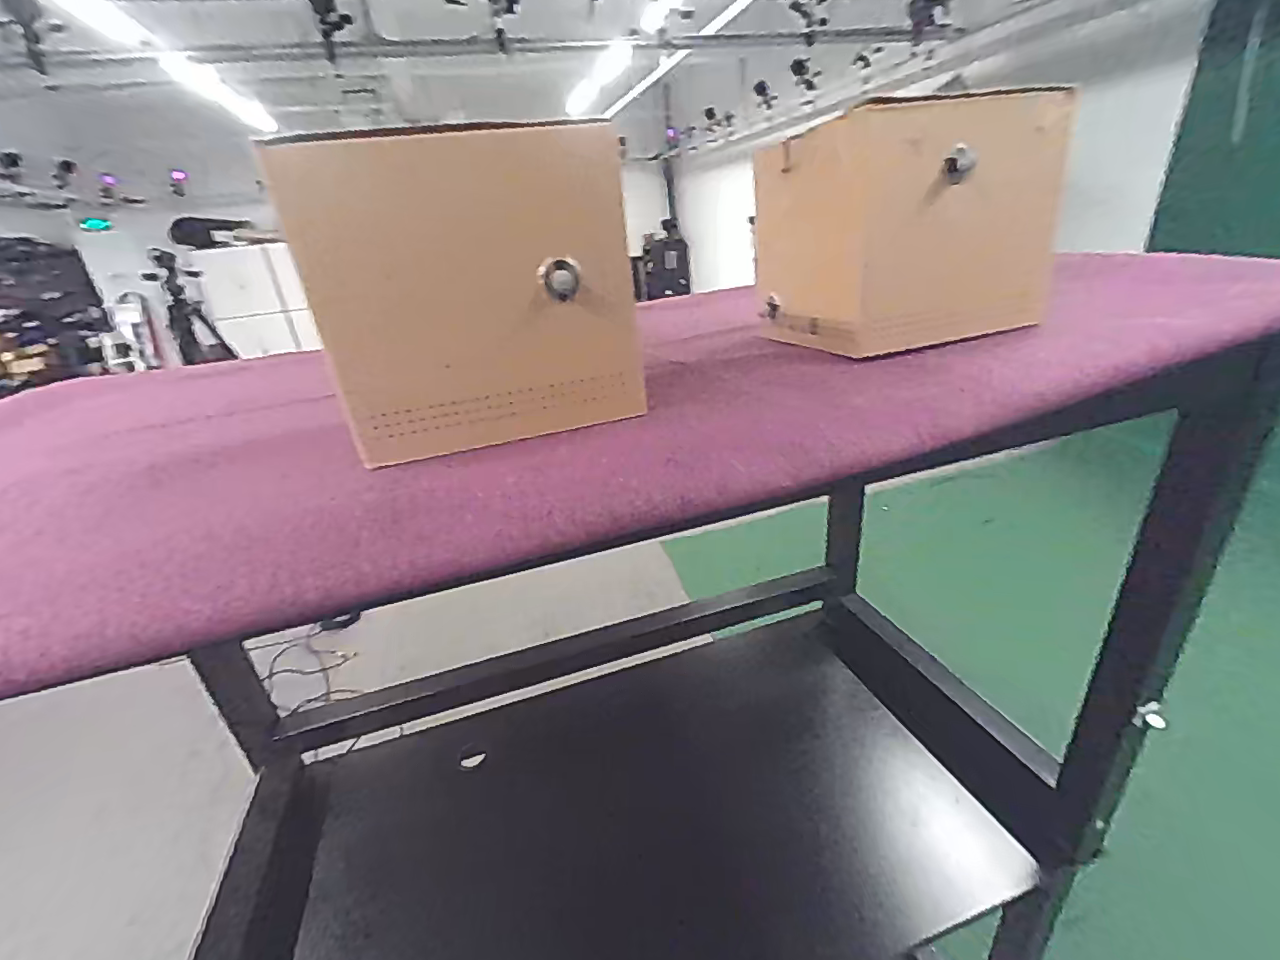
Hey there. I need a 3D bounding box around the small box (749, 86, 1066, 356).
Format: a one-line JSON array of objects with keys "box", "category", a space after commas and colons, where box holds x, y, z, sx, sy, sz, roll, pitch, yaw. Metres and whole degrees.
[{"box": [0.212, -0.210, 0.467, 0.179, 0.176, 0.168, -12, 24, -12], "category": "small box"}]

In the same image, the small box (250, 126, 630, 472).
[{"box": [-0.111, -0.123, 0.367, 0.179, 0.176, 0.168, -14, 26, -14], "category": "small box"}]
